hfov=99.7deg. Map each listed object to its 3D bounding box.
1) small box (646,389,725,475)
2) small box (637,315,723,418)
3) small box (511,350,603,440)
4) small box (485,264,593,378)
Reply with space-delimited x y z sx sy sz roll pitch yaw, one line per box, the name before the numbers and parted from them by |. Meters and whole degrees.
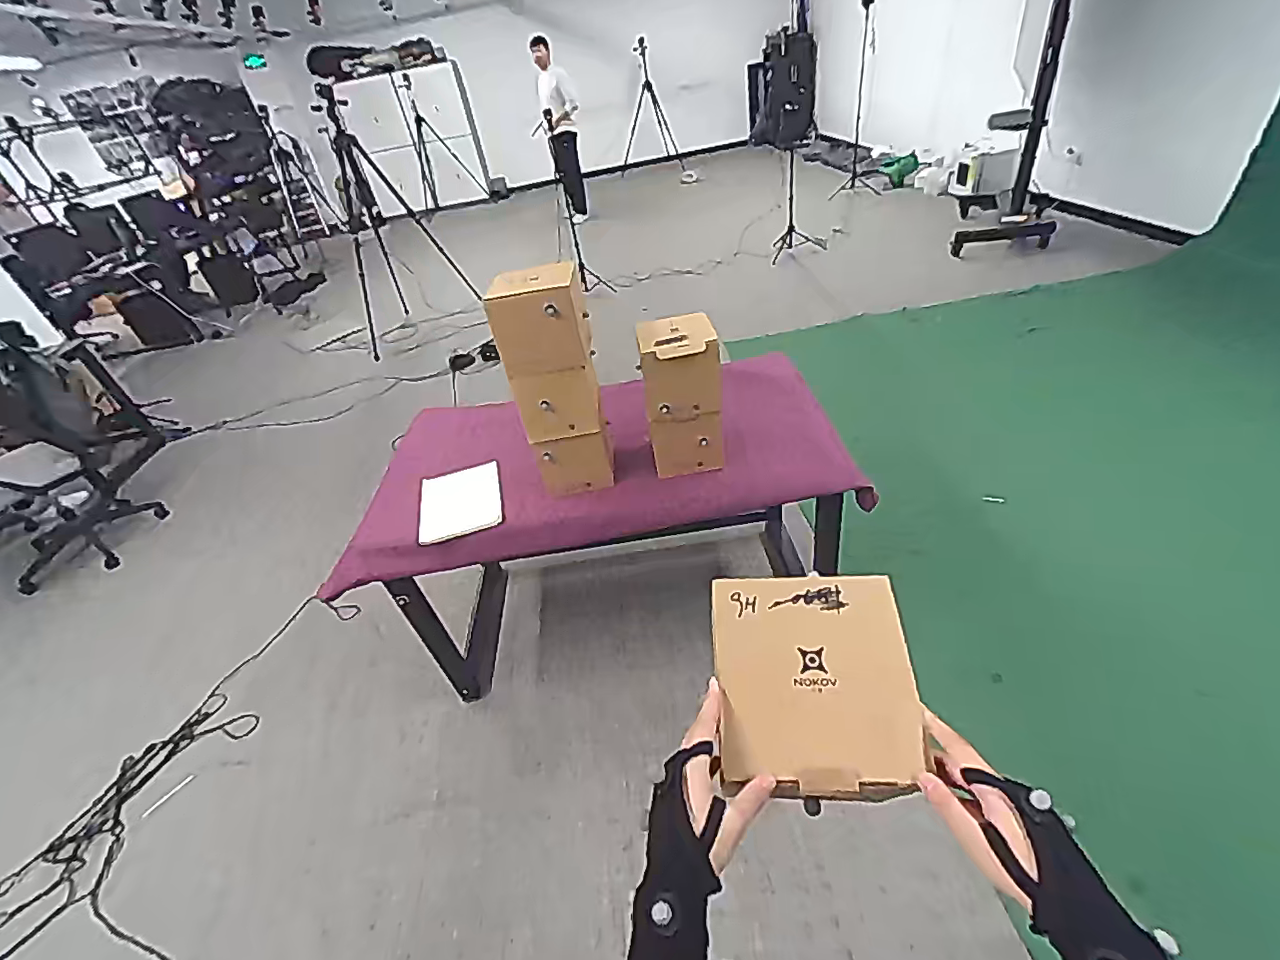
small box | 0.111 -0.125 1.327 0.168 0.176 0.179 -9 36 3
small box | 0.091 -0.252 1.226 0.168 0.176 0.179 -9 36 1
small box | -0.181 -0.204 1.235 0.168 0.176 0.179 -9 36 3
small box | -0.199 -0.331 1.131 0.179 0.176 0.168 -8 36 5
